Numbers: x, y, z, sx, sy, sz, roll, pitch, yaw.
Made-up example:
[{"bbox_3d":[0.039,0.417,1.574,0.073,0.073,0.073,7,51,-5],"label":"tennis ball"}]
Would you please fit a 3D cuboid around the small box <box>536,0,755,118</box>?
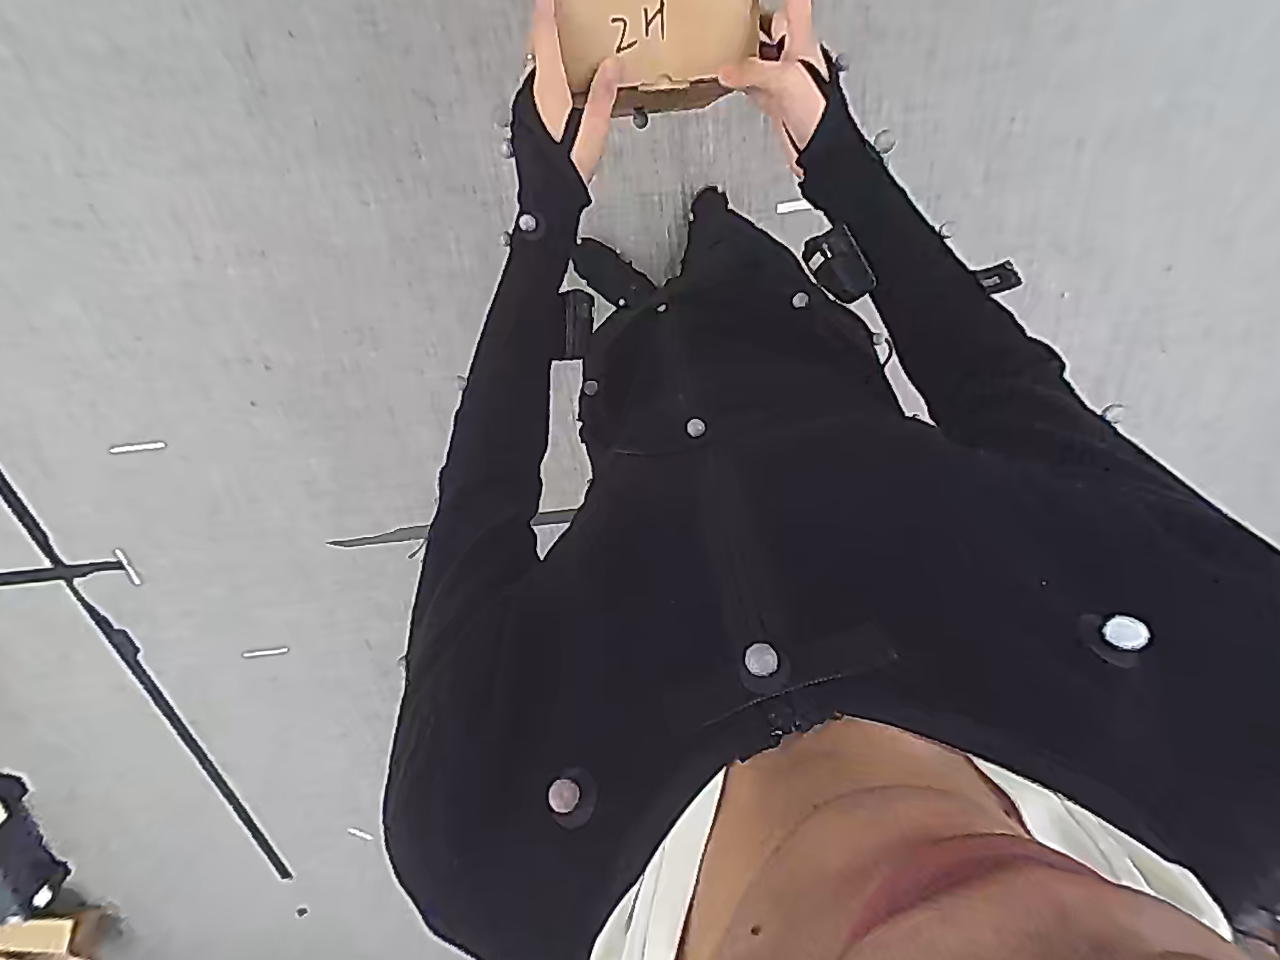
[{"bbox_3d":[-0.007,-0.439,0.474,0.168,0.176,0.179,-10,118,-7],"label":"small box"}]
